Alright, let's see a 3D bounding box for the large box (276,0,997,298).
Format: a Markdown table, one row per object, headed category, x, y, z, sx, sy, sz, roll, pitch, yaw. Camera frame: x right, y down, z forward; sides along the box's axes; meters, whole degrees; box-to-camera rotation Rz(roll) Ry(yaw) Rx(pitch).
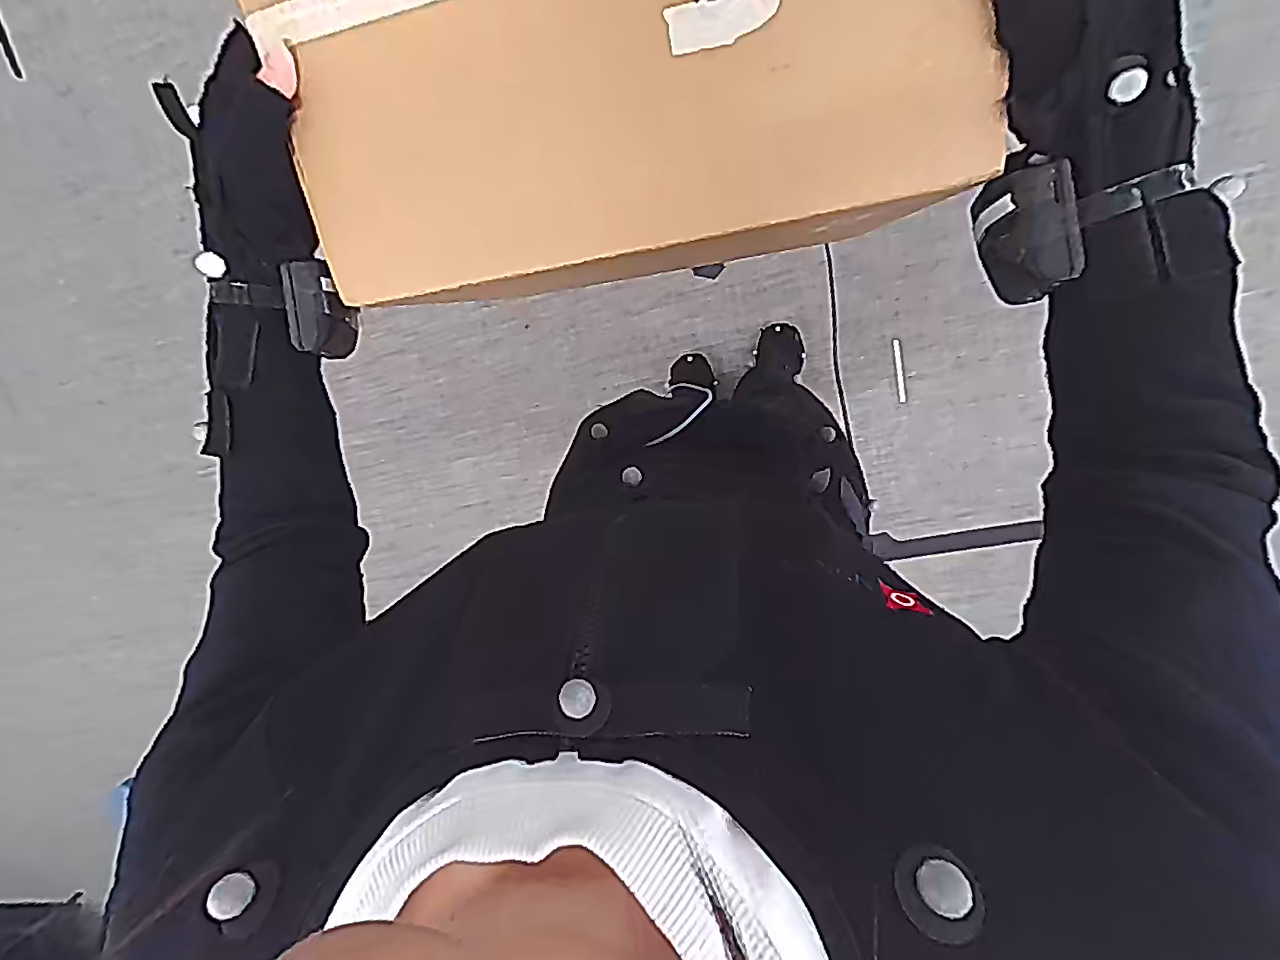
| category | x | y | z | sx | sy | sz | roll | pitch | yaw |
| --- | --- | --- | --- | --- | --- | --- | --- | --- | --- |
| large box | -0.004 | -0.343 | 0.431 | 0.408 | 0.320 | 0.320 | -7 | 109 | 11 |
